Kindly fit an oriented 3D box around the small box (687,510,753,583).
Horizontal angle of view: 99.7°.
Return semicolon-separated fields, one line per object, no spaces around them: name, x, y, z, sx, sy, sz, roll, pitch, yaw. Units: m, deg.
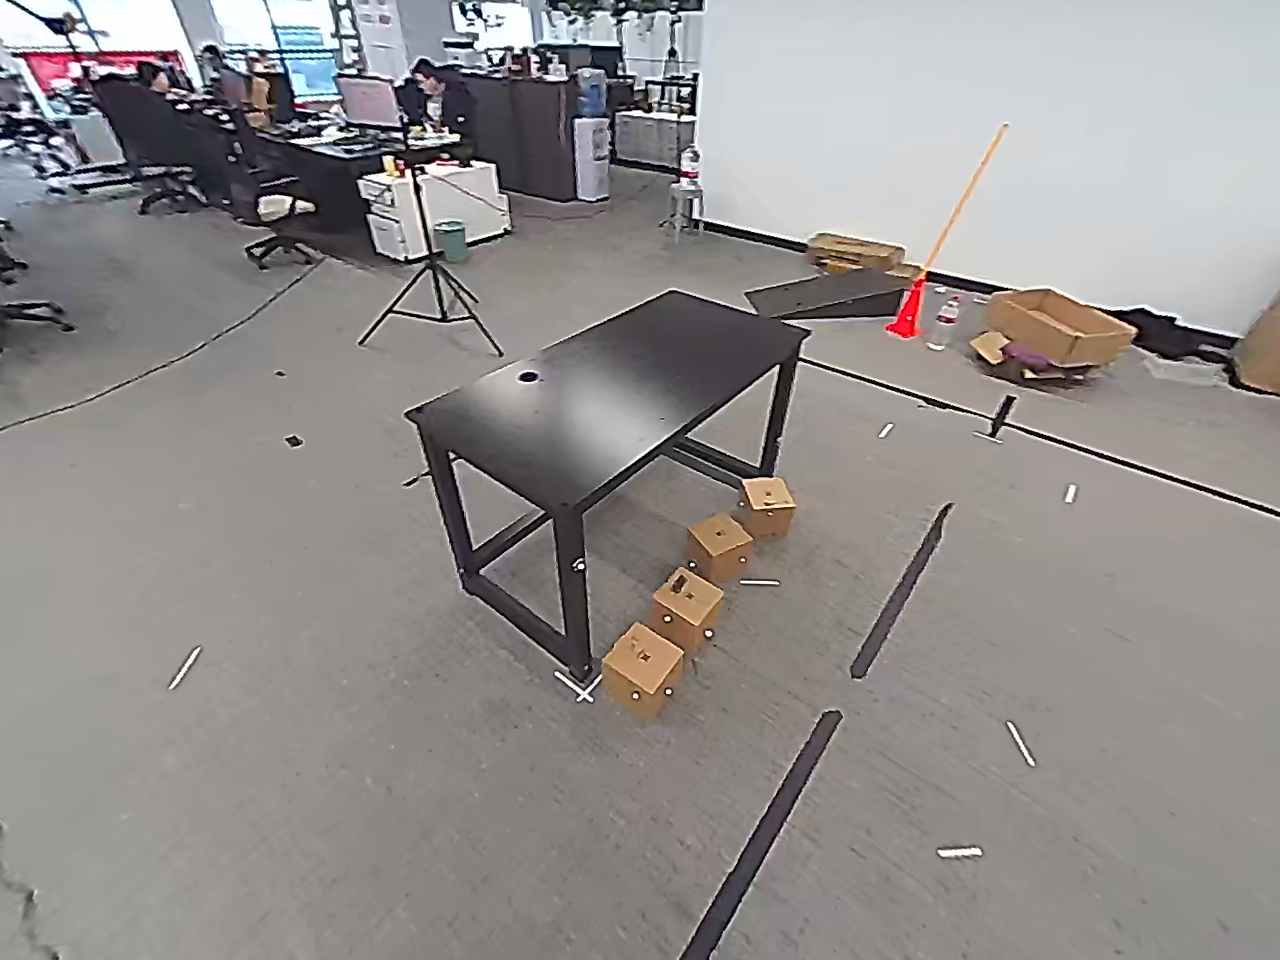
small box;0.286;0.244;1.970;0.179;0.176;0.168;-21;44;-22

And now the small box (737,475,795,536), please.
small box;0.493;0.101;2.139;0.168;0.176;0.179;-5;40;-6

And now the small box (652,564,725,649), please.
small box;0.153;0.416;1.761;0.179;0.176;0.168;28;47;26
